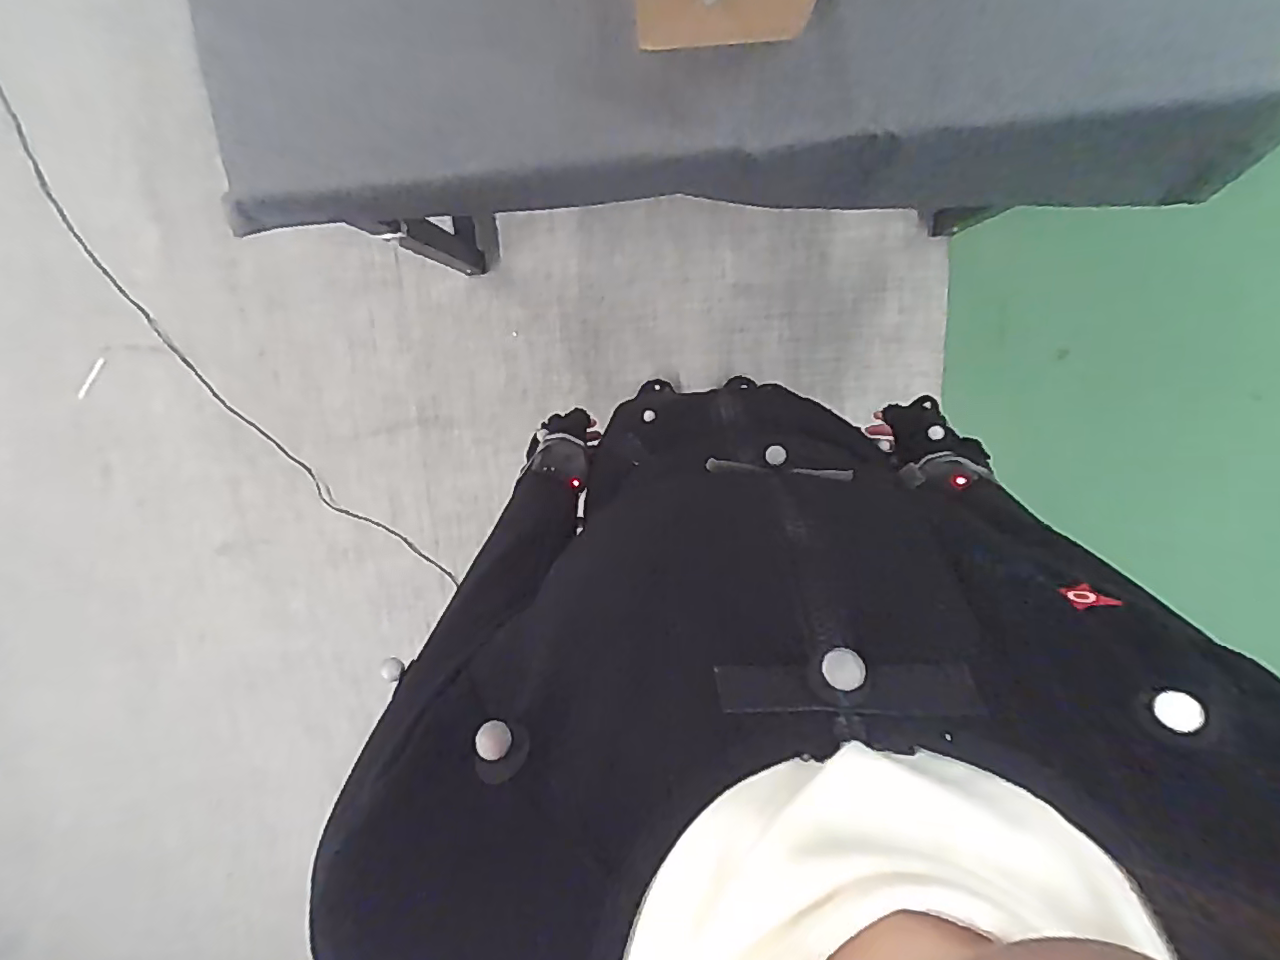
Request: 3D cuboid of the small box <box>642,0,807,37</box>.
[{"bbox_3d":[0.082,-0.548,0.494,0.179,0.176,0.168,-5,101,3],"label":"small box"}]
